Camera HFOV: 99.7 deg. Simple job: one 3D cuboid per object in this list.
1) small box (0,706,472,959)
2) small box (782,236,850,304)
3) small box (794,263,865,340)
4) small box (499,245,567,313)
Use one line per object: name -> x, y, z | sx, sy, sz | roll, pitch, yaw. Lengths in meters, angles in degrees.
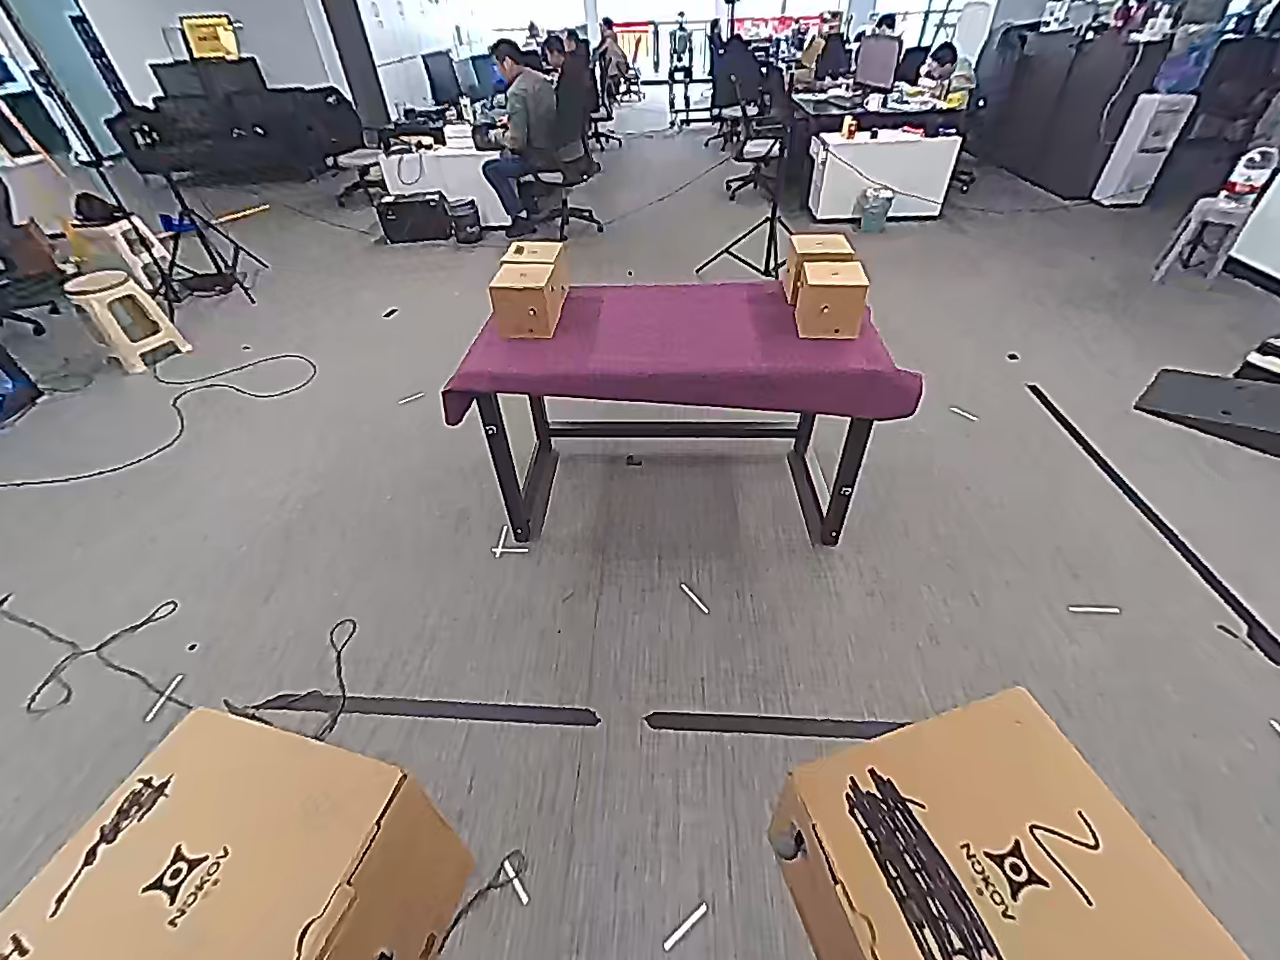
small box -> -0.234, 0.281, 0.346 | 0.179, 0.176, 0.168 | 9, 41, 14
small box -> 0.569, -0.685, 1.774 | 0.179, 0.176, 0.168 | 1, 43, 4
small box -> 0.558, -0.531, 1.612 | 0.168, 0.176, 0.179 | 3, 41, 8
small box -> -0.352, -0.675, 1.816 | 0.179, 0.176, 0.168 | 3, 44, 4
